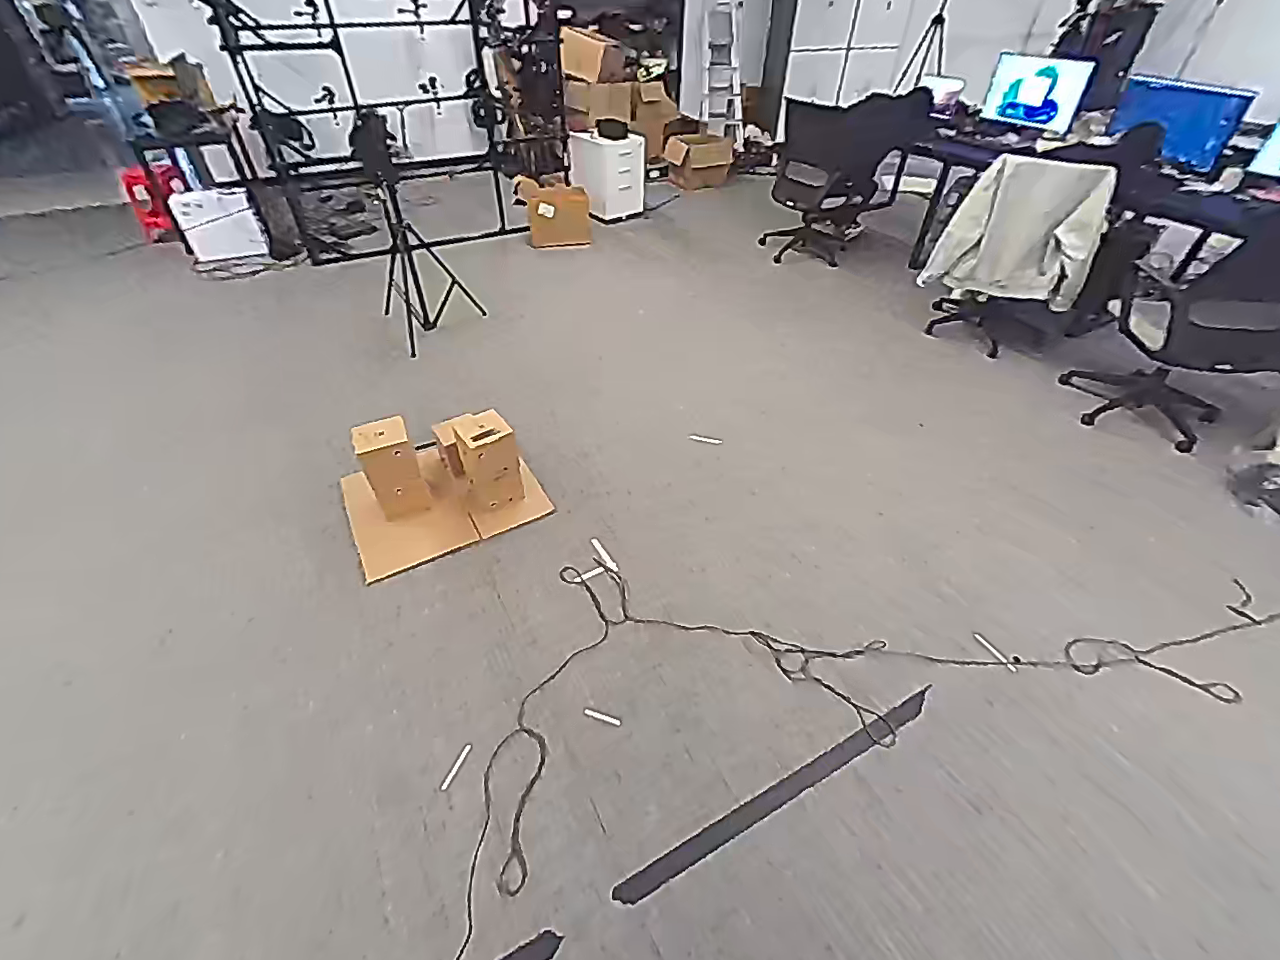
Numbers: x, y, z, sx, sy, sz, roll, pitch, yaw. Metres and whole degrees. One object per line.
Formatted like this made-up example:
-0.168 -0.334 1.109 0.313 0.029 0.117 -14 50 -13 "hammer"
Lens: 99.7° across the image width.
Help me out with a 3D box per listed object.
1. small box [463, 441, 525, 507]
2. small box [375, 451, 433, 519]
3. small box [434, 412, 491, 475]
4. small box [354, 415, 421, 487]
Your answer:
-0.561 -0.015 2.095 0.168 0.176 0.179 -25 48 -25 "small box"
-0.901 0.017 2.056 0.179 0.176 0.168 -20 47 -19 "small box"
-0.727 -0.151 2.243 0.179 0.176 0.168 -25 47 -25 "small box"
-0.903 -0.104 1.944 0.179 0.176 0.168 -19 46 -18 "small box"
